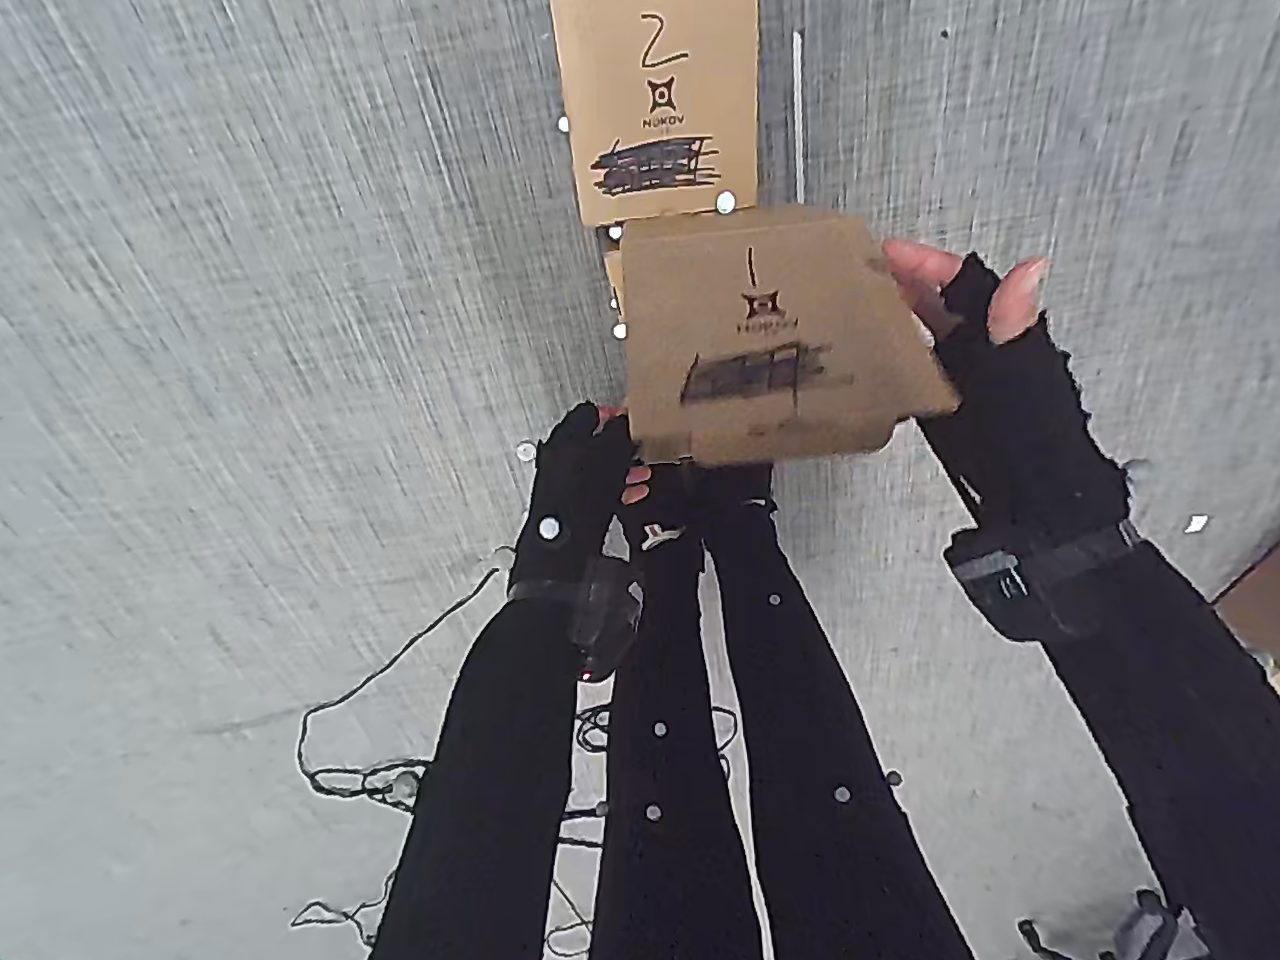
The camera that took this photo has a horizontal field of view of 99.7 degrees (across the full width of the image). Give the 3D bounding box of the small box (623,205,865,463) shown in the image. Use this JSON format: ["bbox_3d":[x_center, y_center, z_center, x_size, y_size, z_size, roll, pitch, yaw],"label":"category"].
[{"bbox_3d":[0.077,-0.134,0.475,0.168,0.176,0.179,-5,119,2],"label":"small box"}]
